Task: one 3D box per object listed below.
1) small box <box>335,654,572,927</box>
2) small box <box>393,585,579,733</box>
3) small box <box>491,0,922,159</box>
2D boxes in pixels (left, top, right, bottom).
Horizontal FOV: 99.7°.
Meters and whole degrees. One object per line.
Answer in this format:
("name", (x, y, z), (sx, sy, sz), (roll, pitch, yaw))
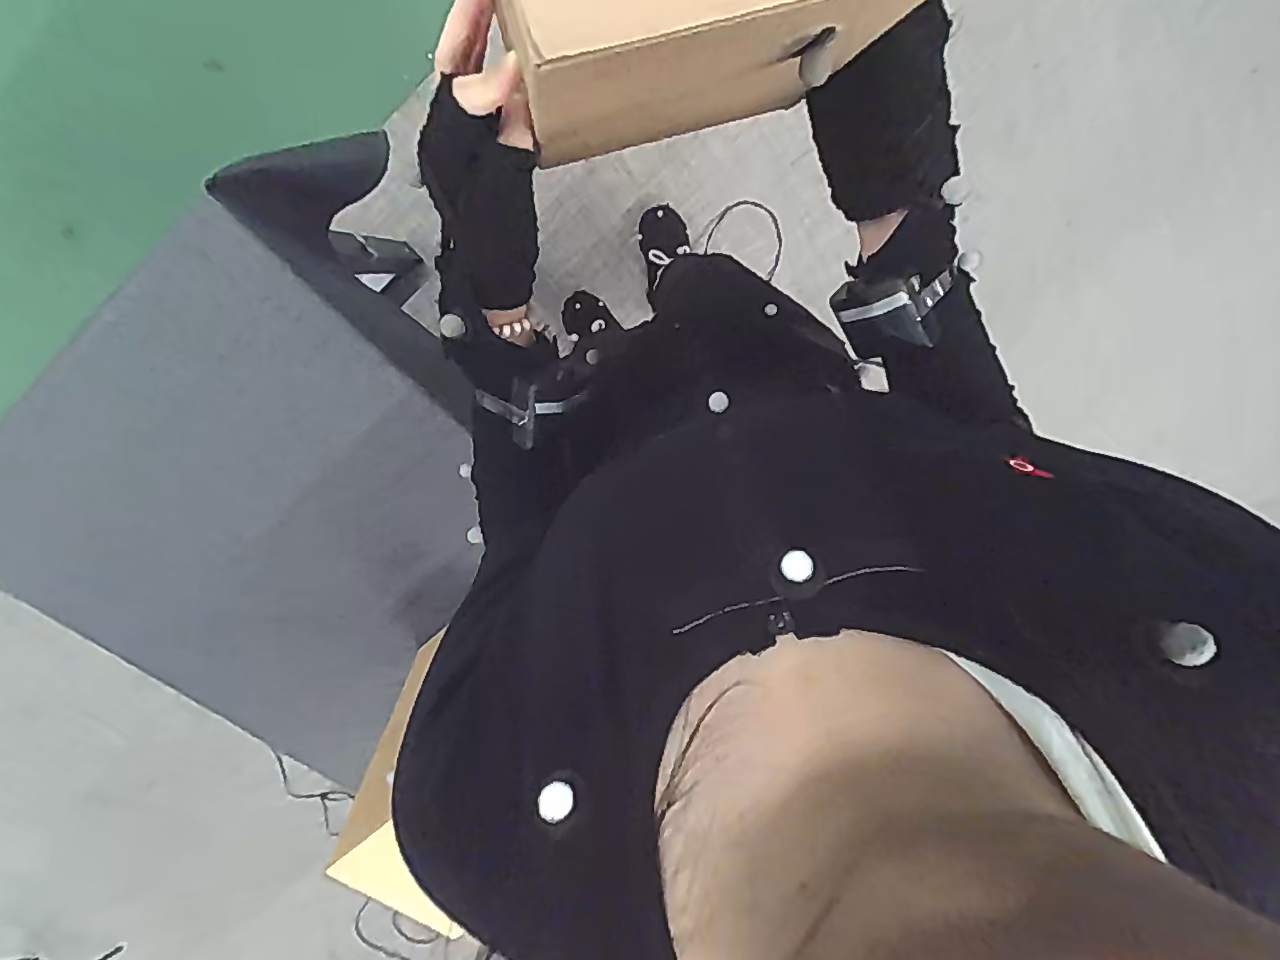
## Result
("small box", (-0.190, 0.339, 0.612), (0.179, 0.176, 0.168), (-41, 109, 10))
("small box", (-0.205, 0.282, 0.763), (0.179, 0.176, 0.168), (-41, 109, 11))
("small box", (0.010, -0.277, 0.256), (0.179, 0.176, 0.168), (-16, 110, -4))
